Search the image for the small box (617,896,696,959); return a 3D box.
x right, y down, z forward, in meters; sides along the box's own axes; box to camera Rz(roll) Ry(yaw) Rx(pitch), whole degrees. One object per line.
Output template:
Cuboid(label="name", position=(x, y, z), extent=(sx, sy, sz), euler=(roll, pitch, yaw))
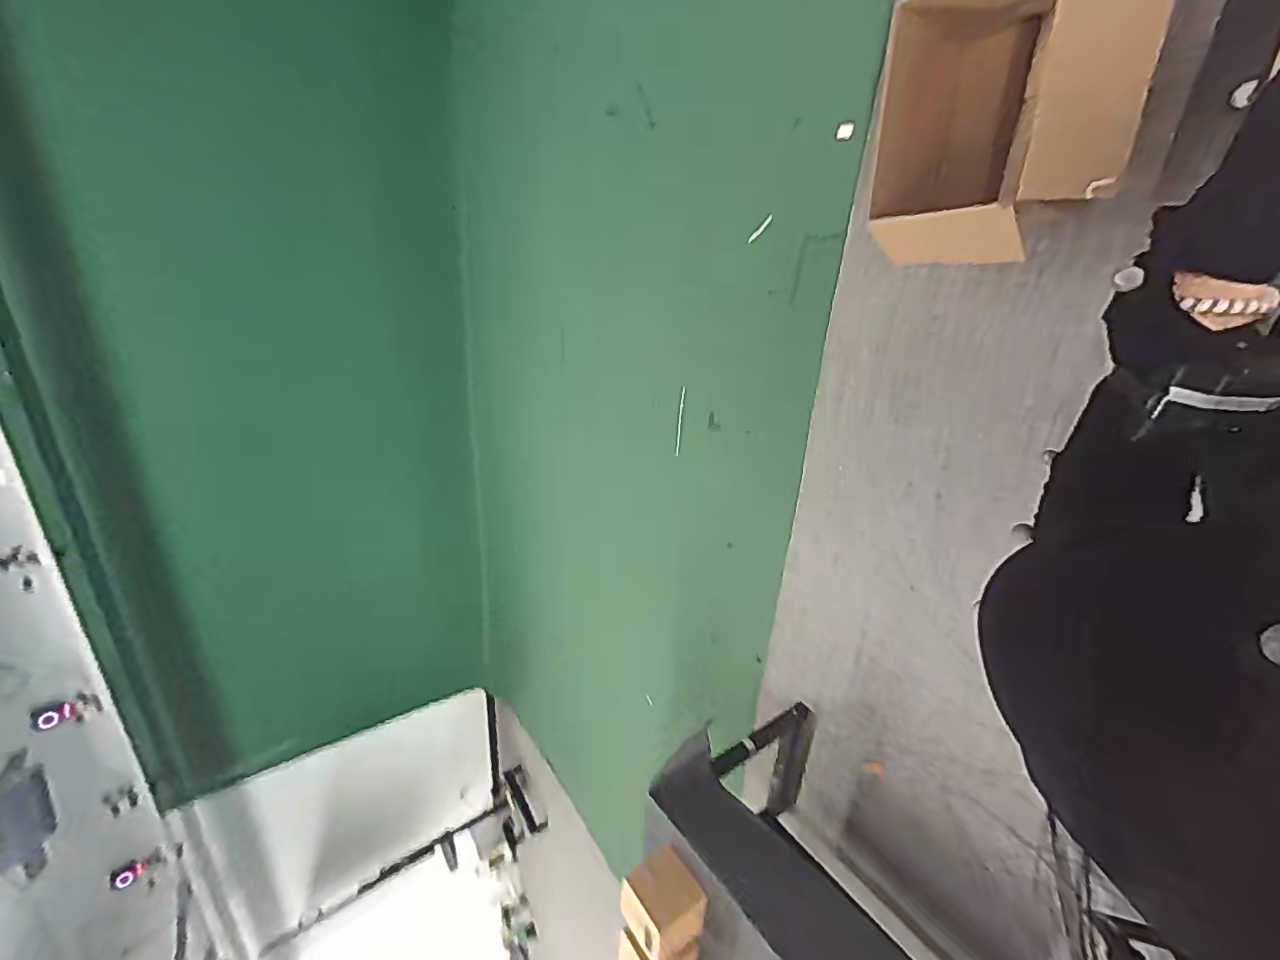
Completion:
Cuboid(label="small box", position=(0.050, 1.427, 1.634), extent=(0.168, 0.176, 0.179), euler=(33, 125, 45))
